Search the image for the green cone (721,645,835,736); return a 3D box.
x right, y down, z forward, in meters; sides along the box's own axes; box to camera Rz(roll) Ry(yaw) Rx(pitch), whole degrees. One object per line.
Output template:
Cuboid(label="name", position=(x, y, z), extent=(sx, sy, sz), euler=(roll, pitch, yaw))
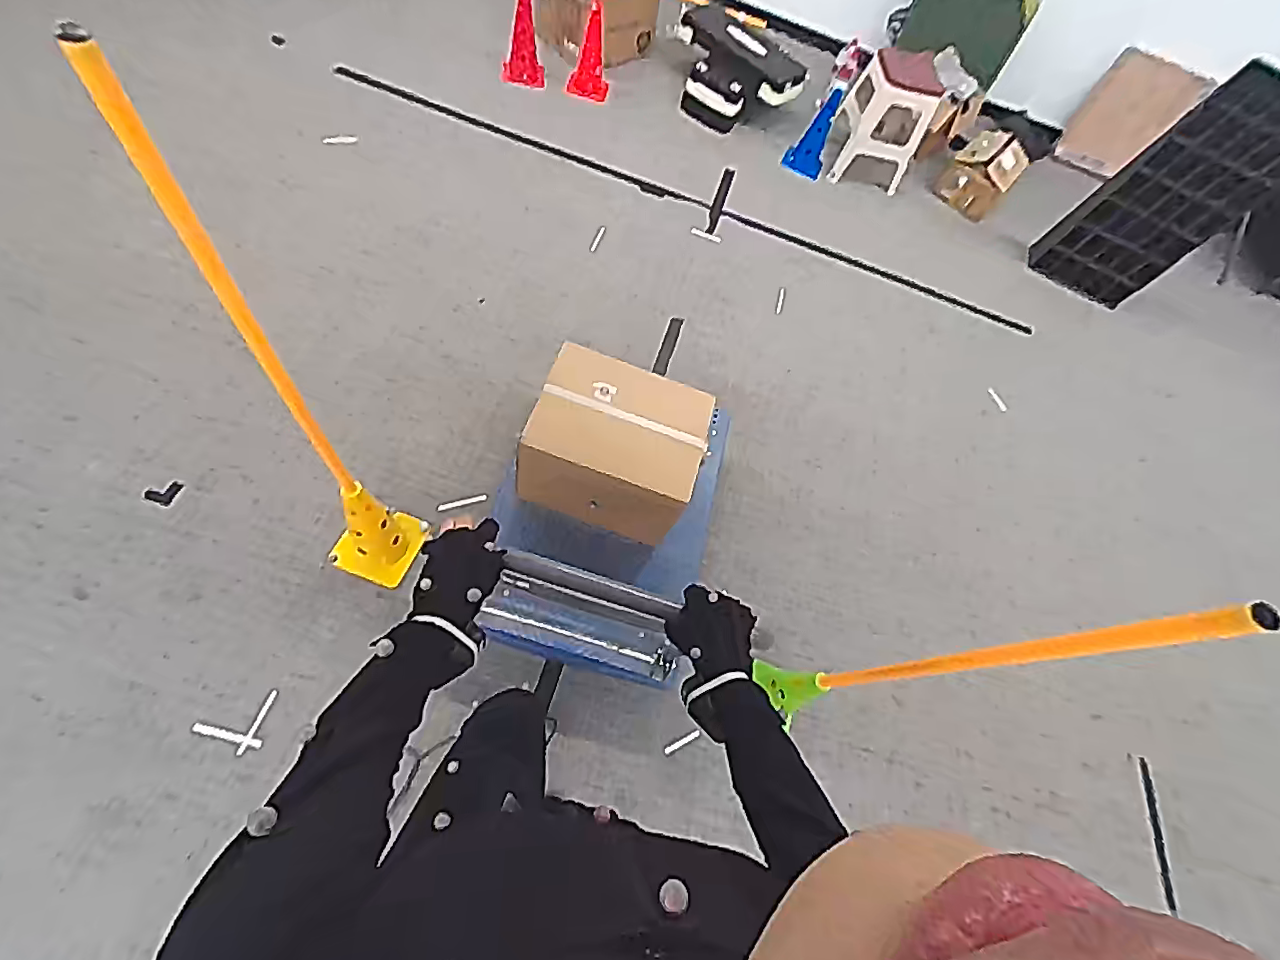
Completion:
Cuboid(label="green cone", position=(0.374, 0.514, 1.370), extent=(0.202, 0.368, 0.200), euler=(24, 61, -2))

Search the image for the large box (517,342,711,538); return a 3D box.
Cuboid(label="large box", position=(-0.073, -0.088, 1.404), extent=(0.408, 0.320, 0.320), euler=(19, 62, -3))
